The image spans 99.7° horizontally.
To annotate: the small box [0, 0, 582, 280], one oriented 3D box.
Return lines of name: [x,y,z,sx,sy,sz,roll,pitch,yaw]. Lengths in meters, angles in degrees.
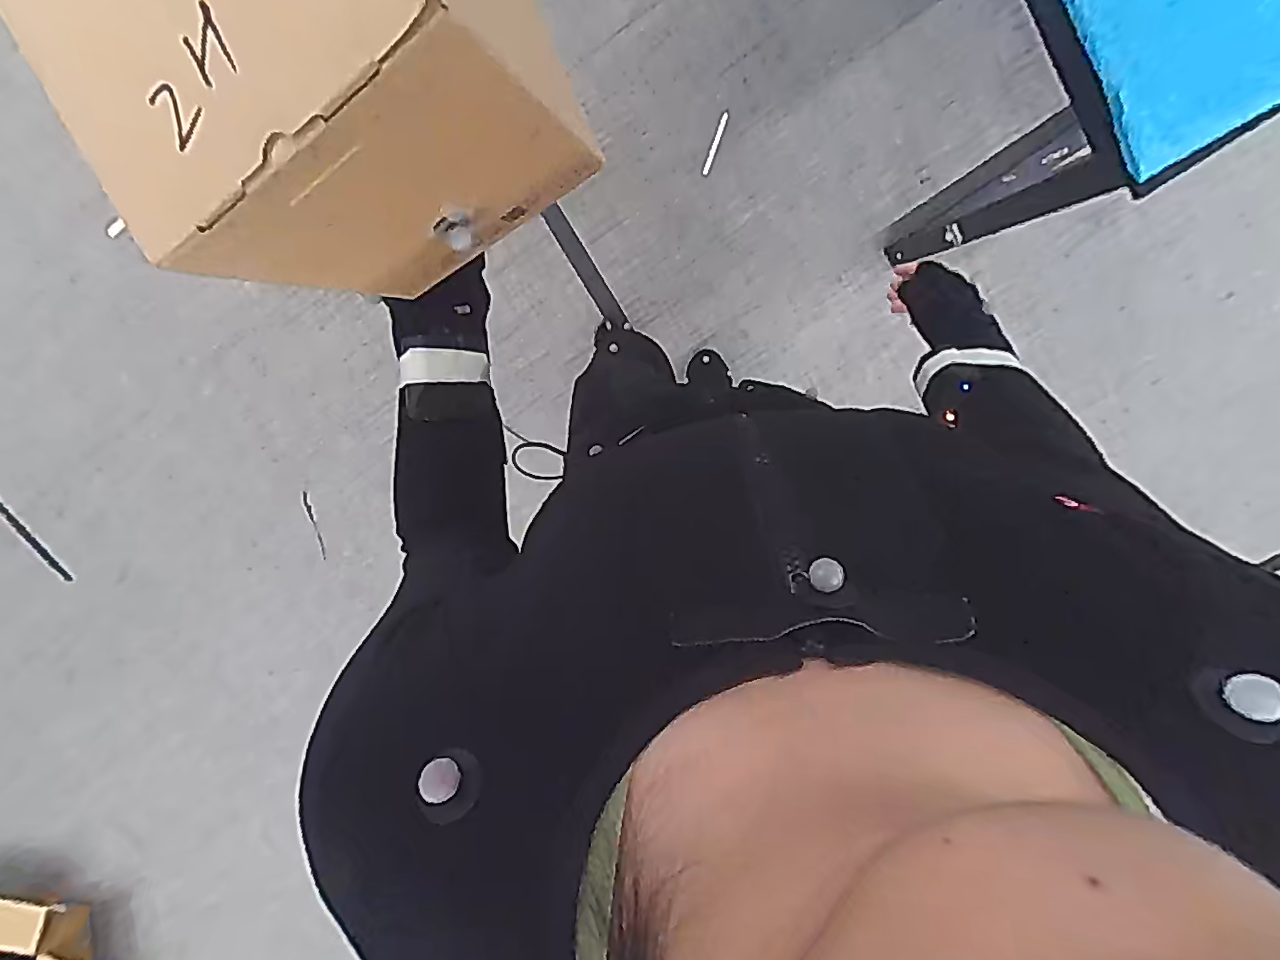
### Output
small box: [-0.154,-0.218,0.268,0.168,0.176,0.179,-20,100,21]
